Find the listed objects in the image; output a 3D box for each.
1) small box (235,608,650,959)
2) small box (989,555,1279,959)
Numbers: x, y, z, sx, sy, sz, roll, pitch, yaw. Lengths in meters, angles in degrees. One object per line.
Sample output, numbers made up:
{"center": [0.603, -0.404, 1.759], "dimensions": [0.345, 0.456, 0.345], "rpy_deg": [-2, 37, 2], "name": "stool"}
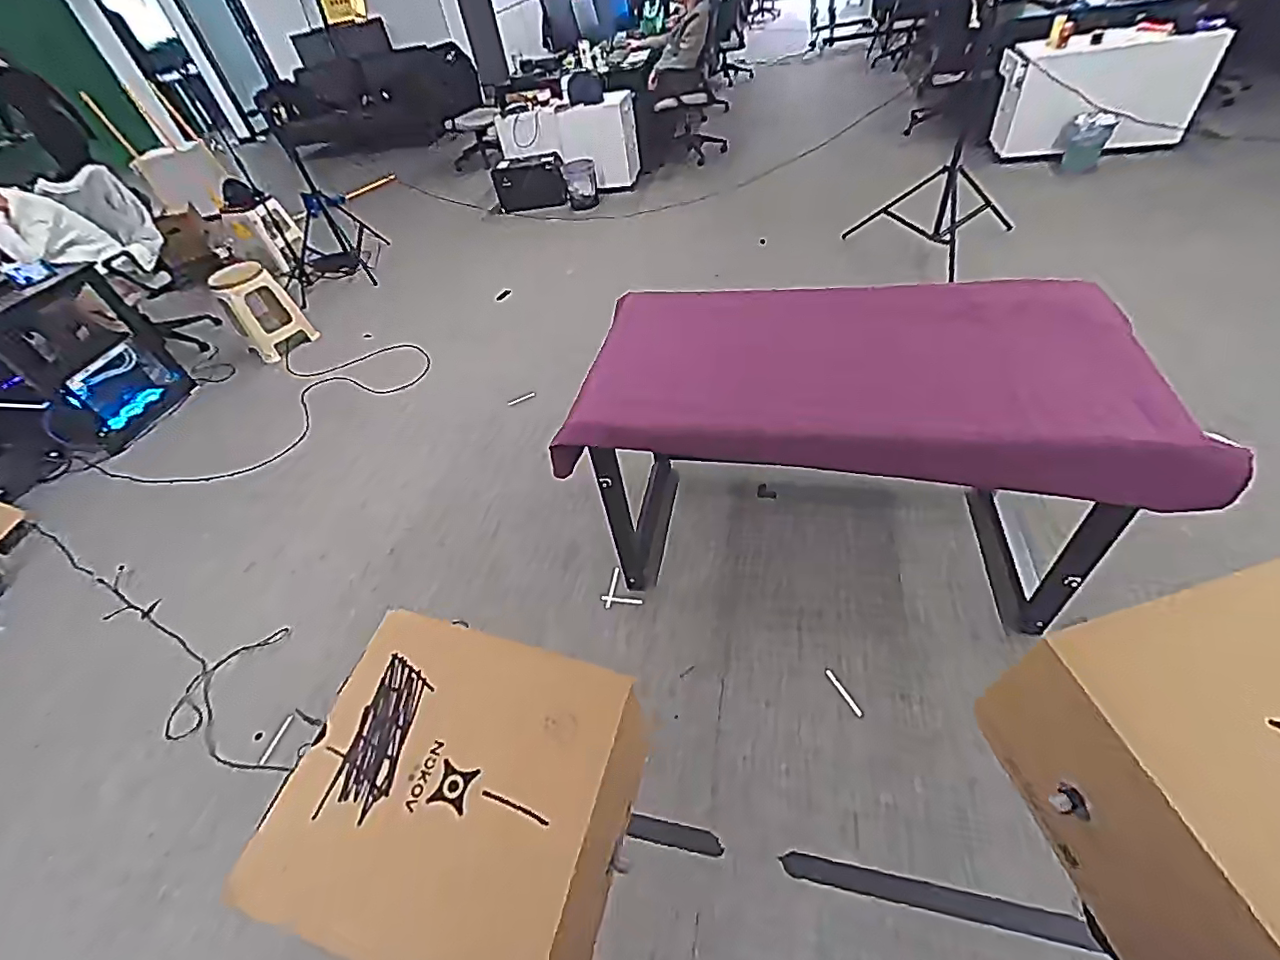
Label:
{"center": [-0.099, 0.212, 0.365], "dimensions": [0.179, 0.176, 0.168], "rpy_deg": [12, 56, 13], "name": "small box"}
{"center": [0.352, 0.171, 0.331], "dimensions": [0.179, 0.176, 0.168], "rpy_deg": [-18, 52, 0], "name": "small box"}
